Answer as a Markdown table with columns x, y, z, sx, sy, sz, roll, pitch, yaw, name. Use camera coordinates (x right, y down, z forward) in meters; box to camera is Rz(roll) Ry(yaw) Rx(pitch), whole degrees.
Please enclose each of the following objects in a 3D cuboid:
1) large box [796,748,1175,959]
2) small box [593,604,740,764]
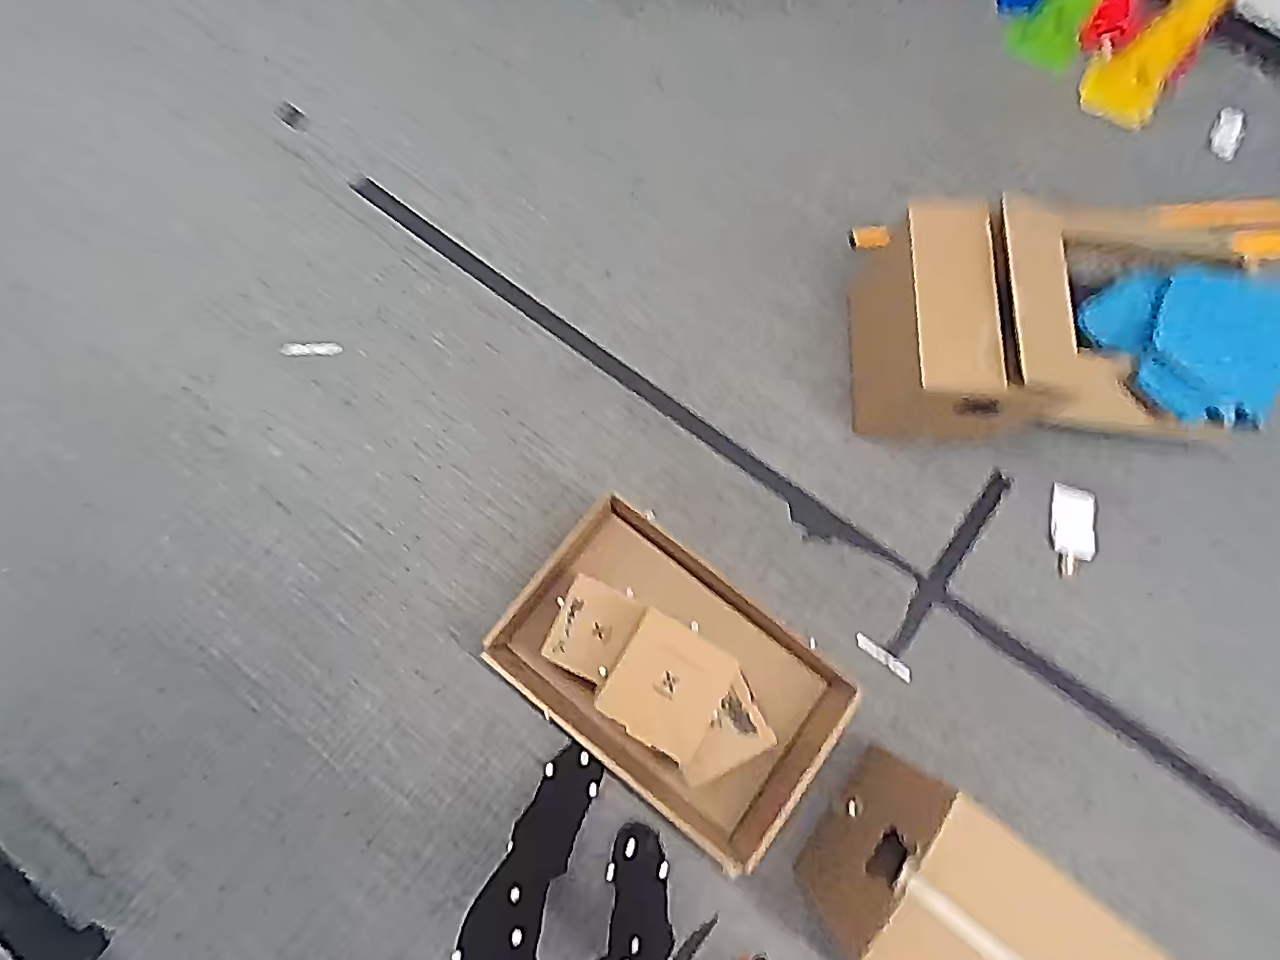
| x | y | z | sx | sy | sz | roll | pitch | yaw | name |
| --- | --- | --- | --- | --- | --- | --- | --- | --- | --- |
| 0.561 | 0.762 | 0.956 | 0.408 | 0.320 | 0.320 | 38 | 80 | 6 | large box |
| 0.040 | 0.323 | 0.893 | 0.168 | 0.176 | 0.179 | 31 | 77 | 4 | small box |
